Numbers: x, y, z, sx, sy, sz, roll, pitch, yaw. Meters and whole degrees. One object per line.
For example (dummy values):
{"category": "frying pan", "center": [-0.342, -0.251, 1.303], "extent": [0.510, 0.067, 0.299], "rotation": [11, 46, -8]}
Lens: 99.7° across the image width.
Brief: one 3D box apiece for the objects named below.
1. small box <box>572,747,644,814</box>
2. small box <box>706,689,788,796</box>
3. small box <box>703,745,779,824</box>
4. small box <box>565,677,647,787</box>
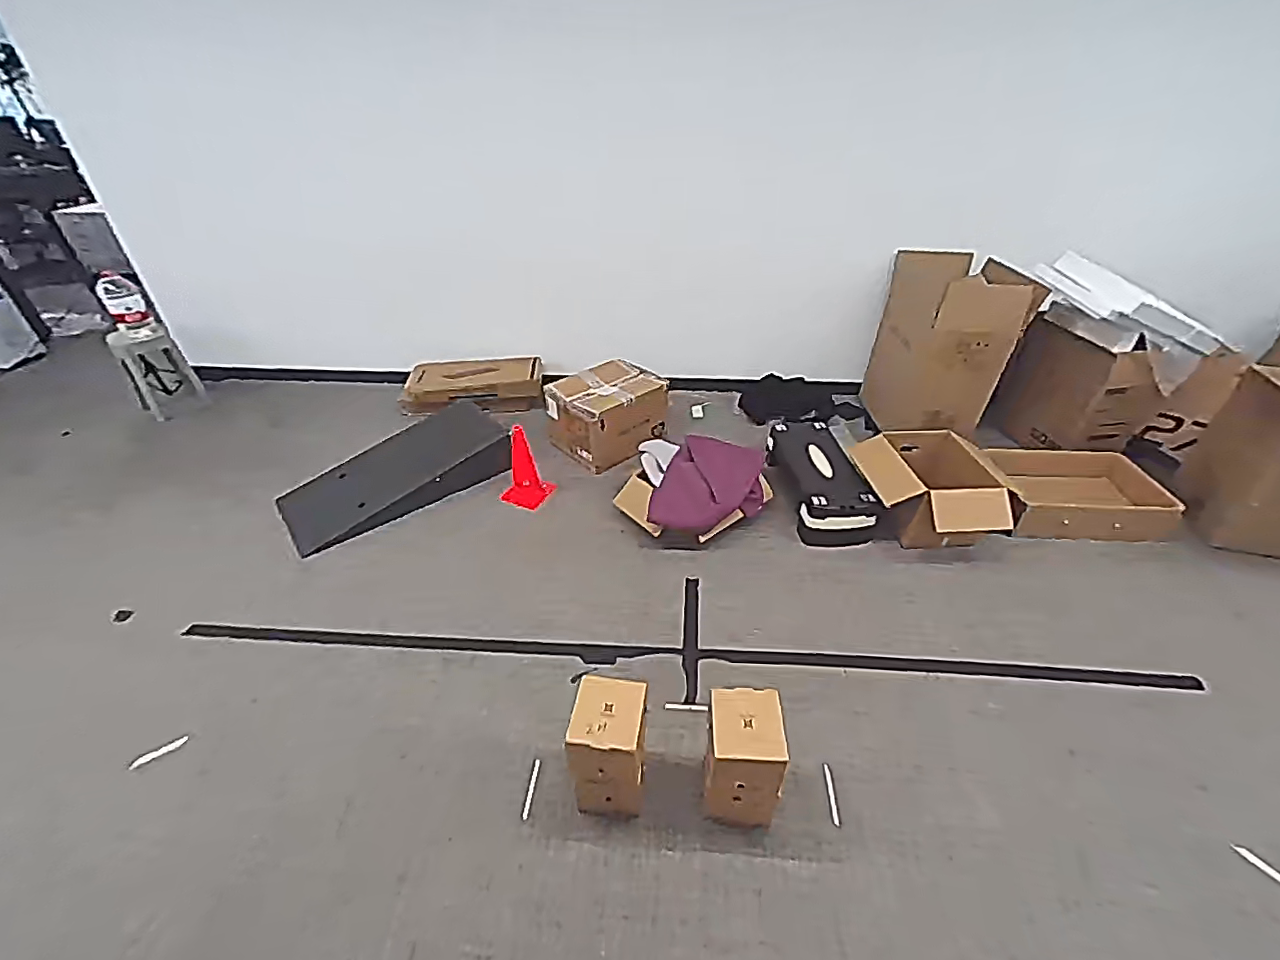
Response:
{"category": "small box", "center": [-0.077, 0.752, 1.422], "extent": [0.168, 0.176, 0.179], "rotation": [1, 37, 3]}
{"category": "small box", "center": [0.250, 0.632, 1.308], "extent": [0.168, 0.176, 0.179], "rotation": [0, 38, 3]}
{"category": "small box", "center": [0.257, 0.764, 1.403], "extent": [0.179, 0.176, 0.168], "rotation": [5, 37, 5]}
{"category": "small box", "center": [-0.077, 0.616, 1.326], "extent": [0.168, 0.176, 0.179], "rotation": [4, 37, 8]}
